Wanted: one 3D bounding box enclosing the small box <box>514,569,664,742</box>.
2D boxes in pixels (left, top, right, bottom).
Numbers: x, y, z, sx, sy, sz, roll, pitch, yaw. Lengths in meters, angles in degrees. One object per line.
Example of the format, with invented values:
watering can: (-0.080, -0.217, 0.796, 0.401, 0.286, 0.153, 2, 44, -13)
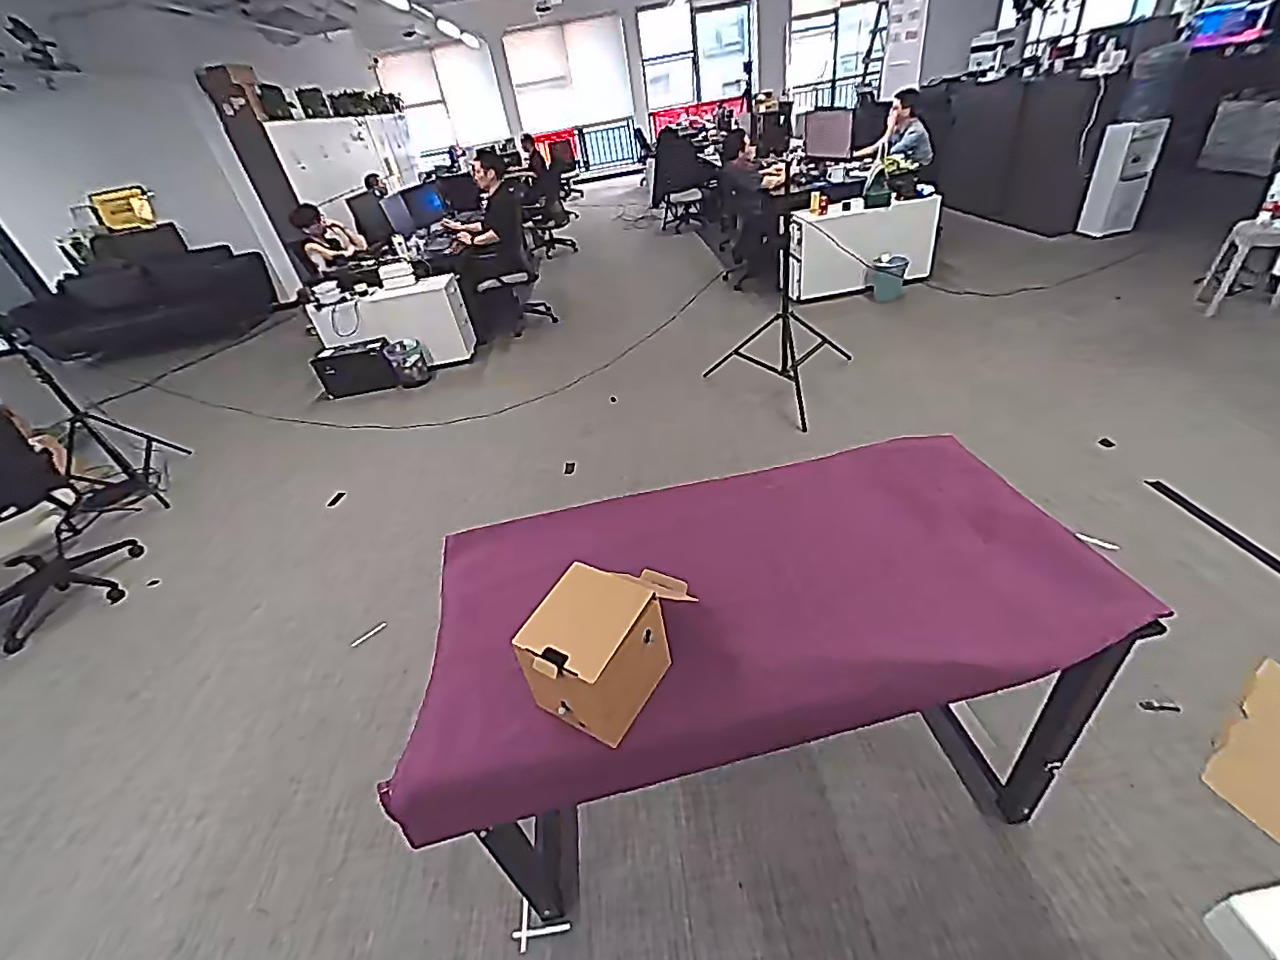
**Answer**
small box: (-0.072, 0.283, 0.886, 0.168, 0.176, 0.179, 13, 41, 32)
